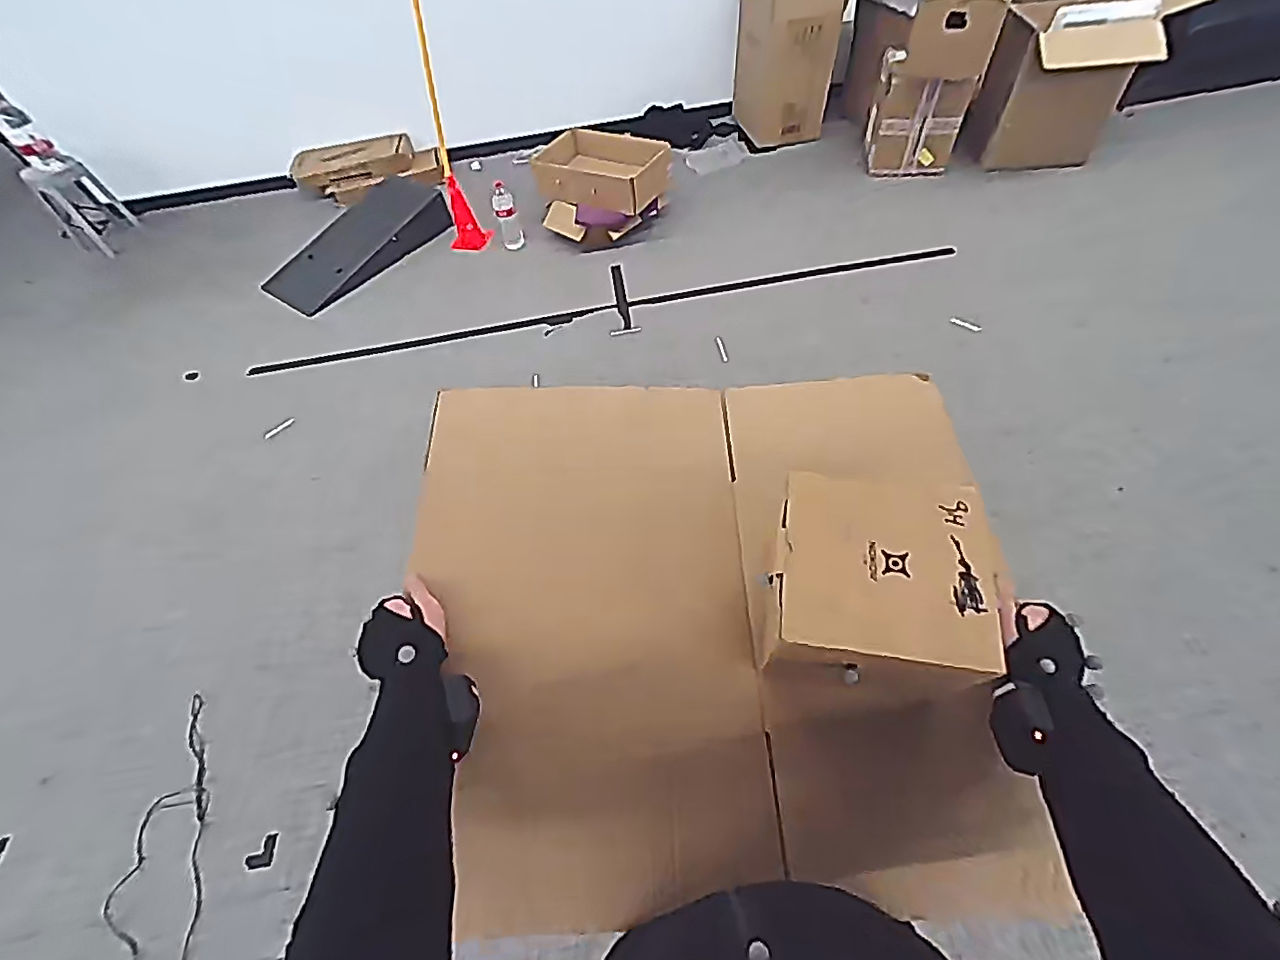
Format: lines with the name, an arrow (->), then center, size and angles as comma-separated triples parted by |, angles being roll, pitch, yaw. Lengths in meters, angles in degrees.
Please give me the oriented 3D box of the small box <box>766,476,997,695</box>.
small box -> 0.225, 0.113, 0.552 | 0.179, 0.176, 0.168 | 5, 62, 11
